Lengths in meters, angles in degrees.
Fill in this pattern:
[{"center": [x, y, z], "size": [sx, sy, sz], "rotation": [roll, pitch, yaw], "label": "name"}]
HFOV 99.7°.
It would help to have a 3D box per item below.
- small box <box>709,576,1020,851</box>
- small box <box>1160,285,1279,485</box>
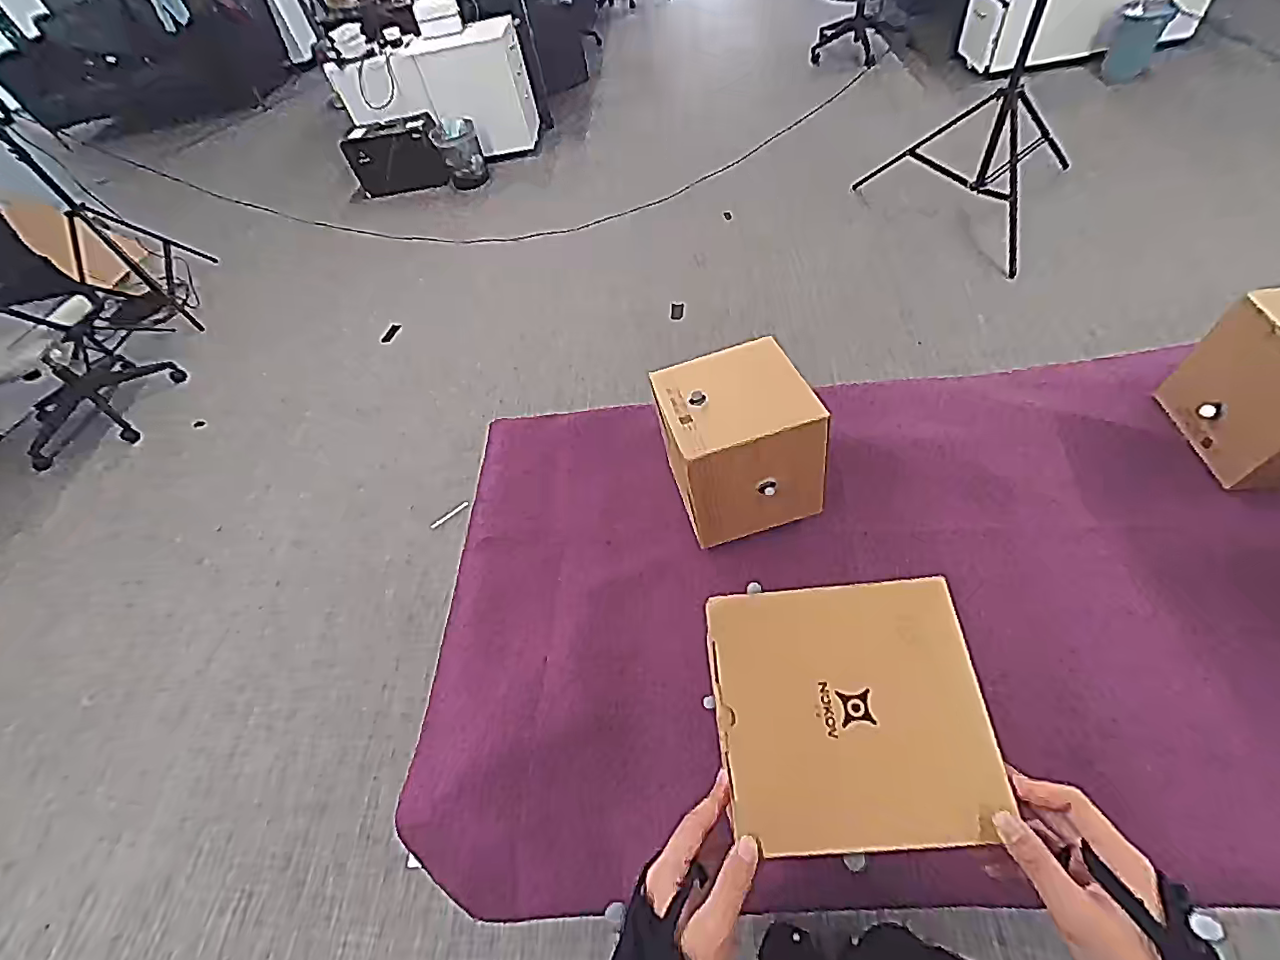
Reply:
[{"center": [0.151, 0.183, 0.438], "size": [0.179, 0.176, 0.168], "rotation": [-7, 65, 5], "label": "small box"}, {"center": [0.782, -0.109, 0.624], "size": [0.179, 0.176, 0.168], "rotation": [-5, 54, 7], "label": "small box"}]
